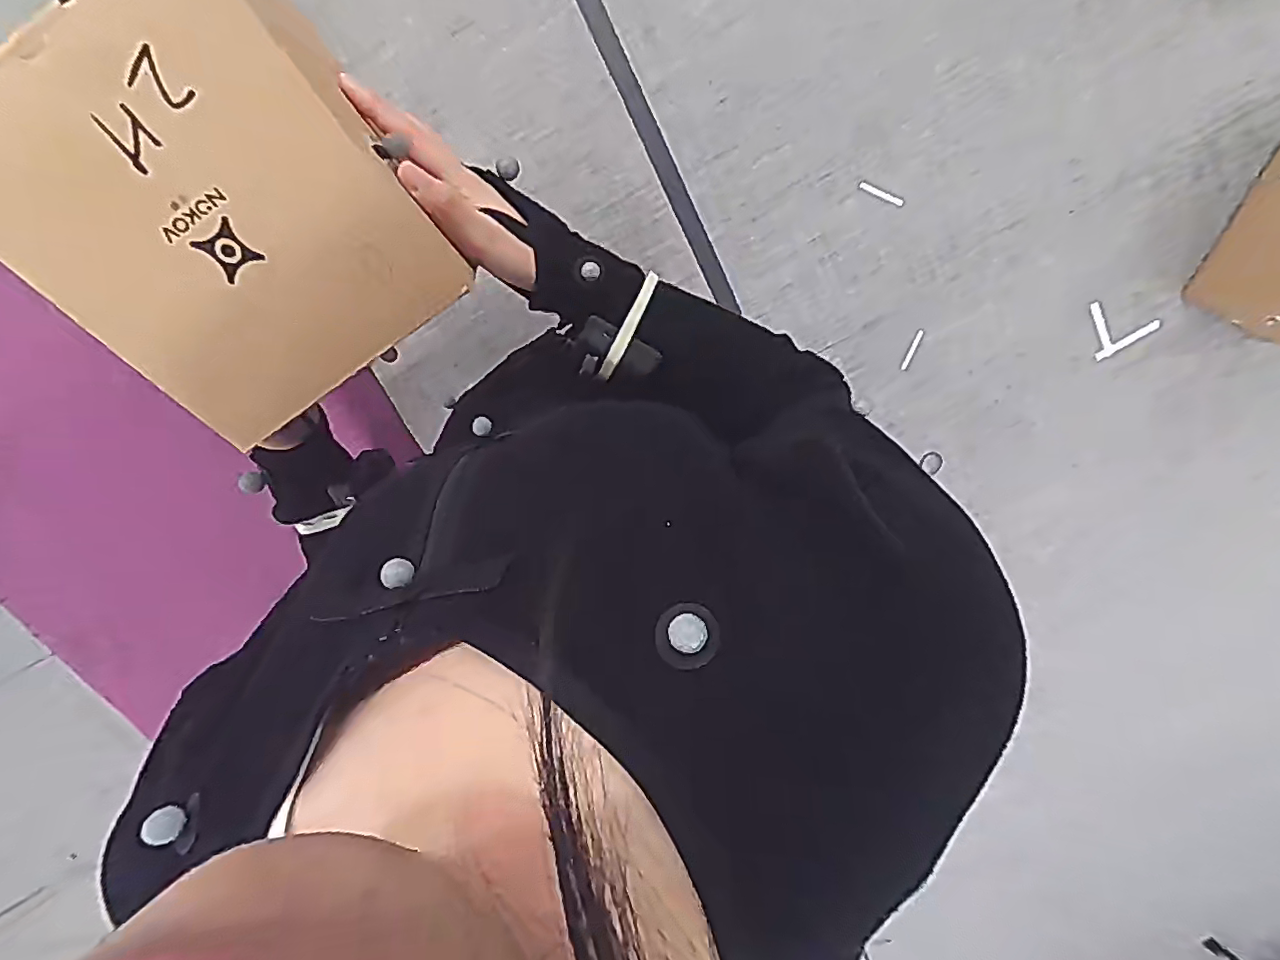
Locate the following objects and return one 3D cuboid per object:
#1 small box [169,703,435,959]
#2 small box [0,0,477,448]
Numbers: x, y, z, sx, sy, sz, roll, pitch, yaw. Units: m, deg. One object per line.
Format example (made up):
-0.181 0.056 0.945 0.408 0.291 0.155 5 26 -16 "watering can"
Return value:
-0.366 0.402 0.633 0.179 0.176 0.168 -33 105 8 "small box"
-0.217 -0.158 0.334 0.168 0.176 0.179 -34 121 5 "small box"
